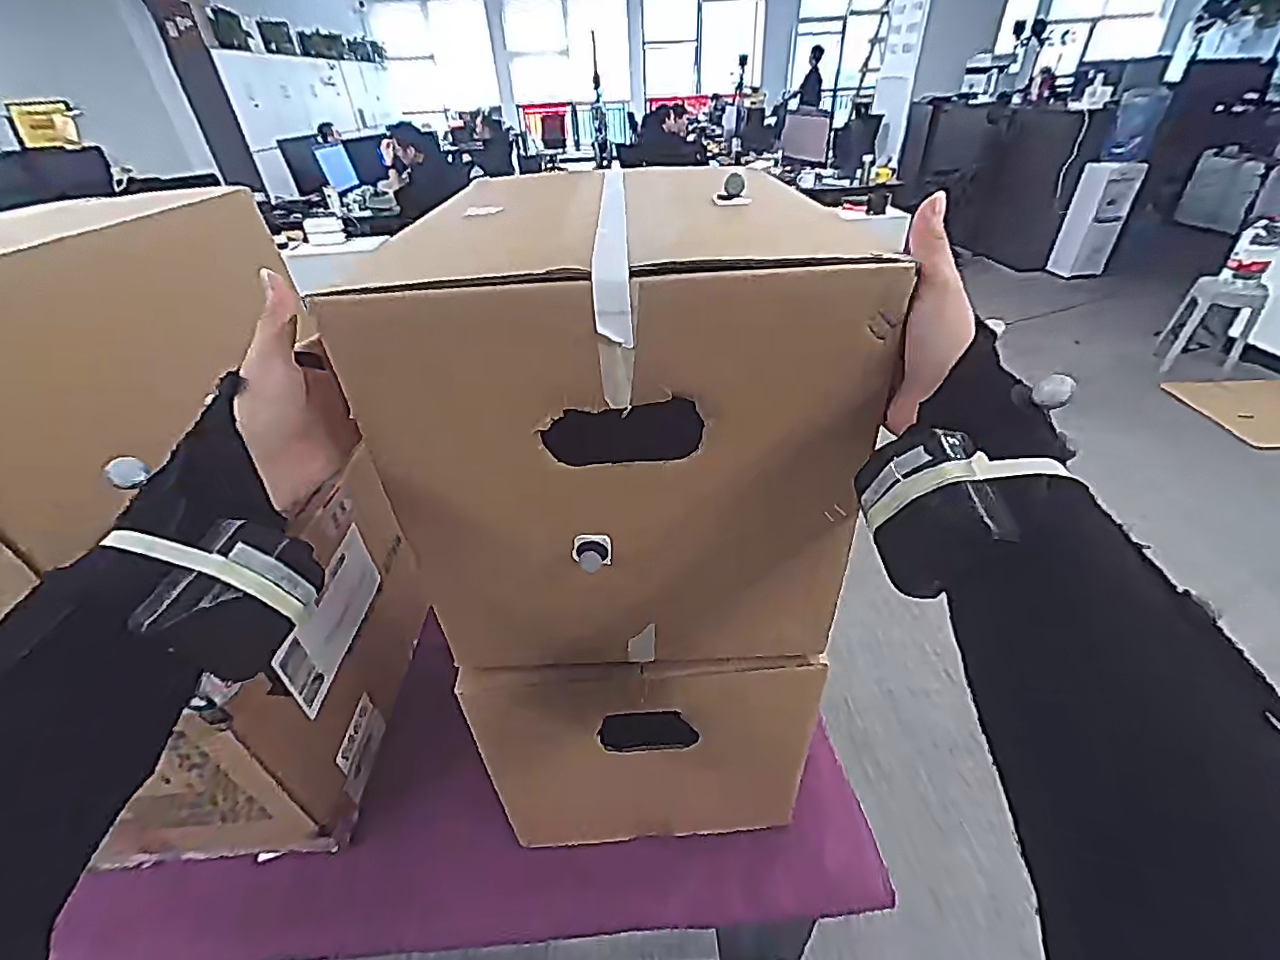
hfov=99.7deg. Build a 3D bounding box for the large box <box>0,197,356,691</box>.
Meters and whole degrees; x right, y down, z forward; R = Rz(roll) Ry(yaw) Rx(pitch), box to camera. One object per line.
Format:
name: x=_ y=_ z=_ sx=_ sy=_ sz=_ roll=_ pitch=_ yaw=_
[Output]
large box: x=-0.553 y=-0.058 z=0.528 sx=0.320 sy=0.320 sz=0.408 roll=-7 pitch=36 yaw=3
